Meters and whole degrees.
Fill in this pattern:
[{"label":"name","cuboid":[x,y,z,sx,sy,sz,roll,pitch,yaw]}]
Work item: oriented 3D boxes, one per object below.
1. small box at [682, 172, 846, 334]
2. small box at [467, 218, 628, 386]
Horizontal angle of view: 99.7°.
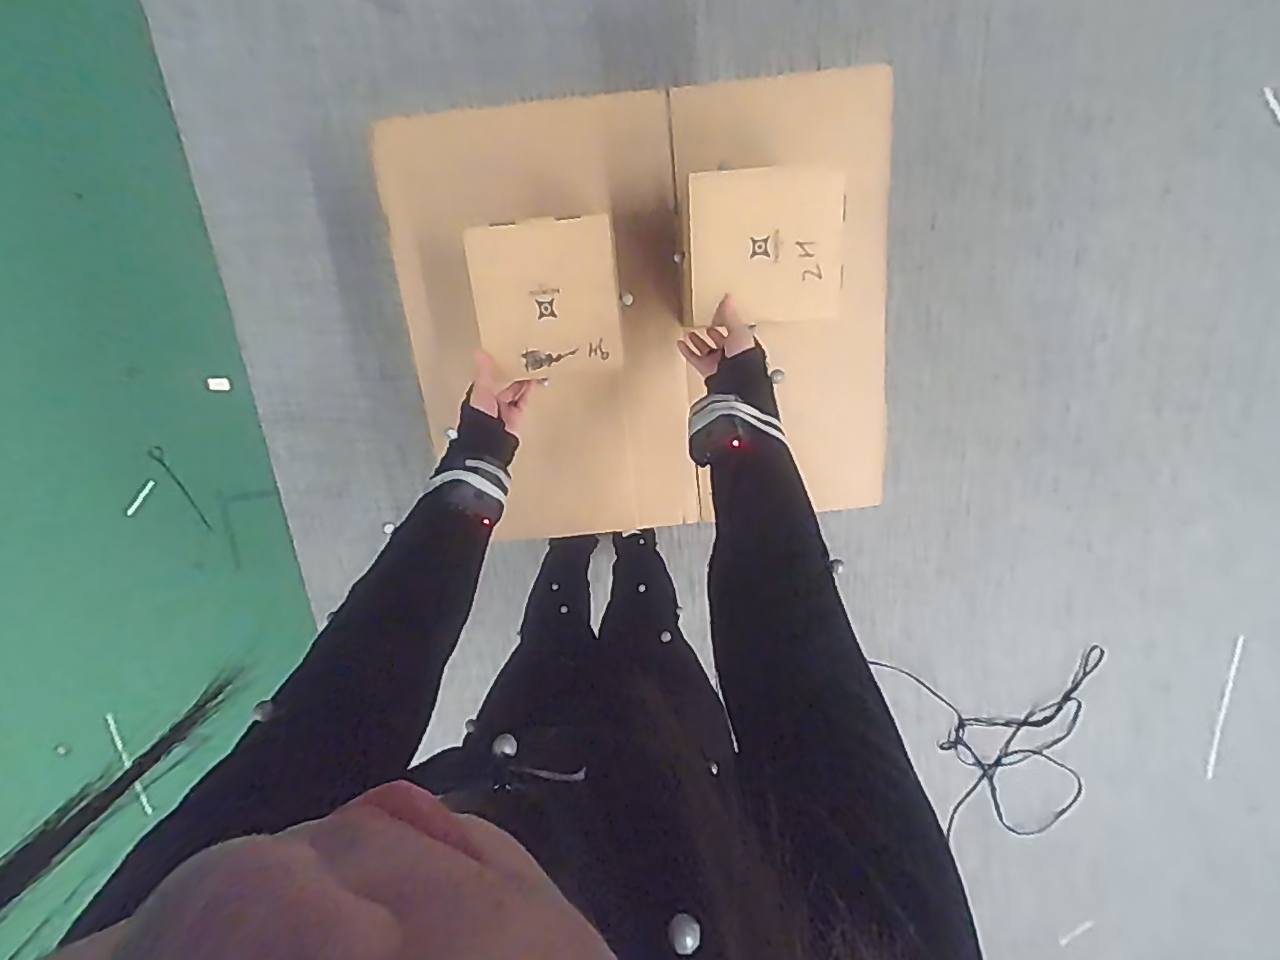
[{"label":"small box","cuboid":[0.144,-0.275,0.689,0.179,0.176,0.168,-2,105,2]},{"label":"small box","cuboid":[-0.106,-0.220,0.699,0.168,0.176,0.179,-5,104,3]}]
